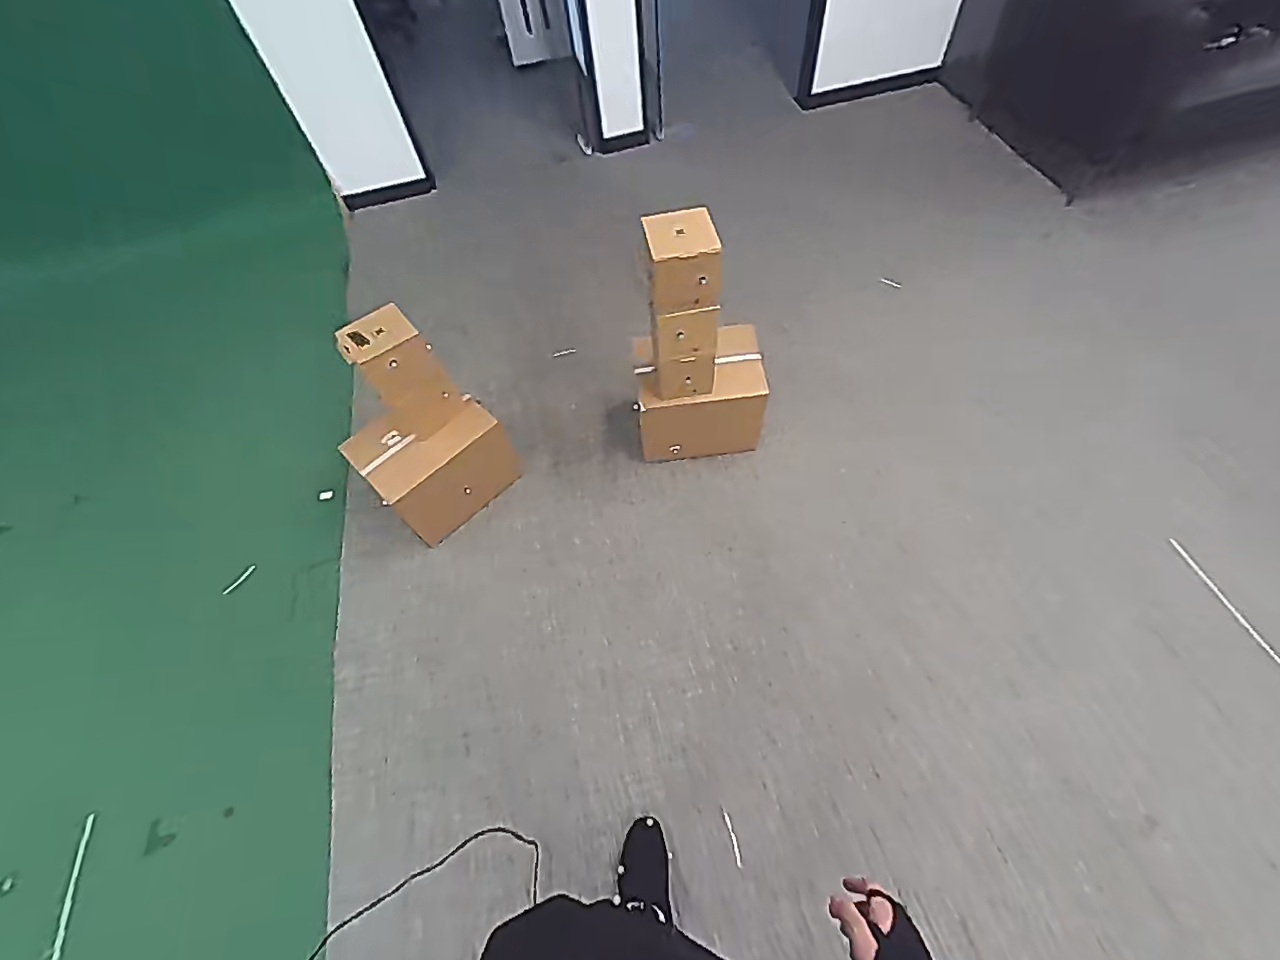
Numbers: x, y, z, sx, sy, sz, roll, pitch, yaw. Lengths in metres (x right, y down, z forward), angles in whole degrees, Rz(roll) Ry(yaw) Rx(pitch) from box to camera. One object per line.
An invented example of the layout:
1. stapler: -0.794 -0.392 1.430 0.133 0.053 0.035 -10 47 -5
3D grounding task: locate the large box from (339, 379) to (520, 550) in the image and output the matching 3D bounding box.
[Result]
1. large box: -0.674 -0.049 1.793 0.320 0.320 0.408 37 69 25

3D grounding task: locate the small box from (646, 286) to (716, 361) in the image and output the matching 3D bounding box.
1. small box: 0.114 -0.446 1.494 0.168 0.176 0.179 -10 58 -1

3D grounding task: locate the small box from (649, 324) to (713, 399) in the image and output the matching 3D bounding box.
1. small box: 0.122 -0.362 1.633 0.168 0.176 0.179 -9 59 -1

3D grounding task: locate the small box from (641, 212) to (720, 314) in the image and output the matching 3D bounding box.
1. small box: 0.100 -0.535 1.358 0.168 0.176 0.179 -10 57 -2

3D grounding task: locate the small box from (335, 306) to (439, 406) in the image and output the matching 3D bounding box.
1. small box: -0.689 -0.337 1.489 0.179 0.176 0.168 -36 62 -17
